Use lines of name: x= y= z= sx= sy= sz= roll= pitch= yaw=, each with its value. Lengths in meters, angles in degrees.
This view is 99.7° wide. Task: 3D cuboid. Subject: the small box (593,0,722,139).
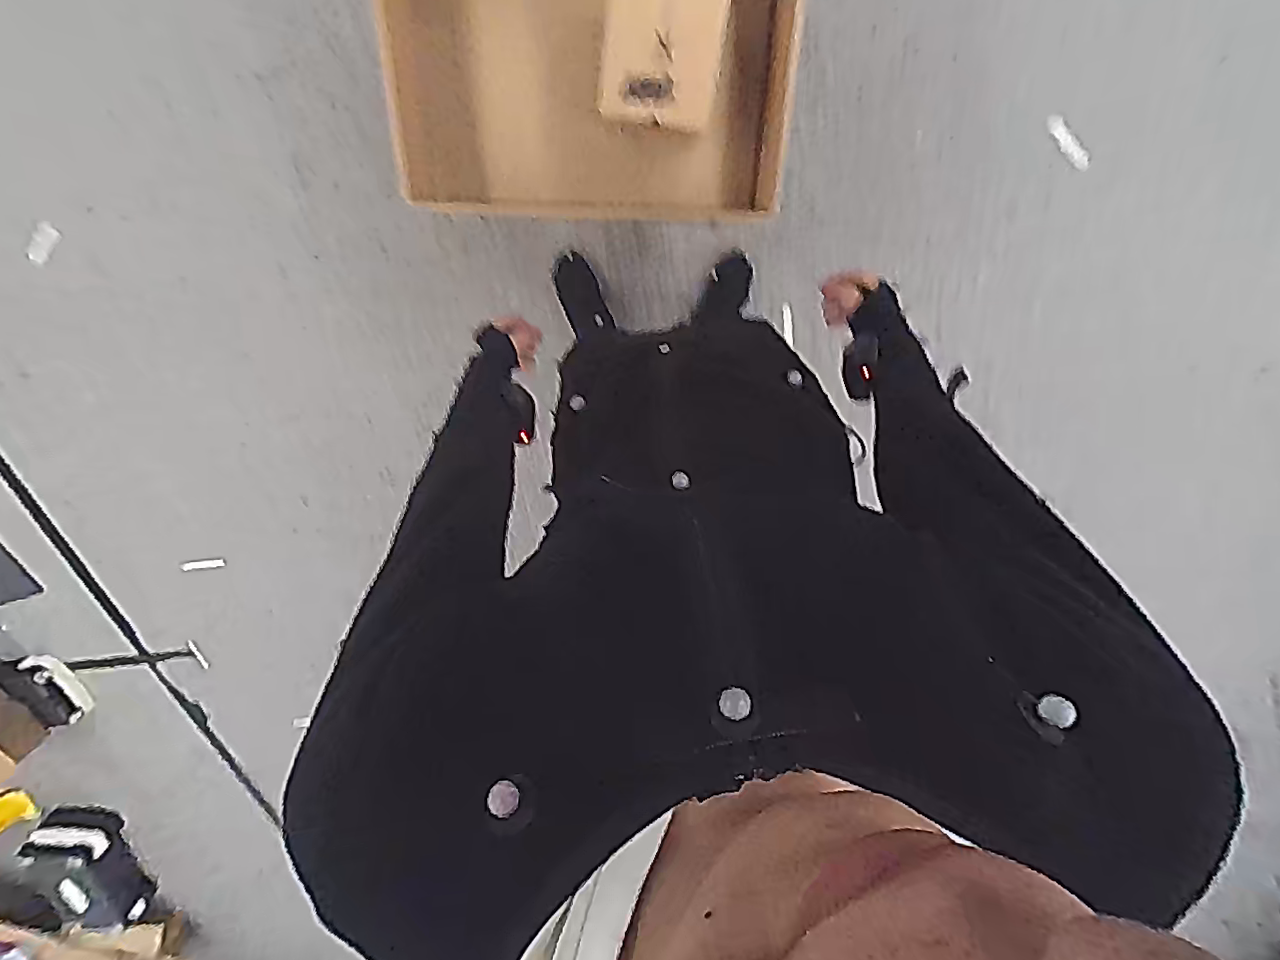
small box: x=0.023 y=-0.647 z=0.839 sx=0.168 sy=0.176 sz=0.179 roll=7 pitch=116 yaw=-4
